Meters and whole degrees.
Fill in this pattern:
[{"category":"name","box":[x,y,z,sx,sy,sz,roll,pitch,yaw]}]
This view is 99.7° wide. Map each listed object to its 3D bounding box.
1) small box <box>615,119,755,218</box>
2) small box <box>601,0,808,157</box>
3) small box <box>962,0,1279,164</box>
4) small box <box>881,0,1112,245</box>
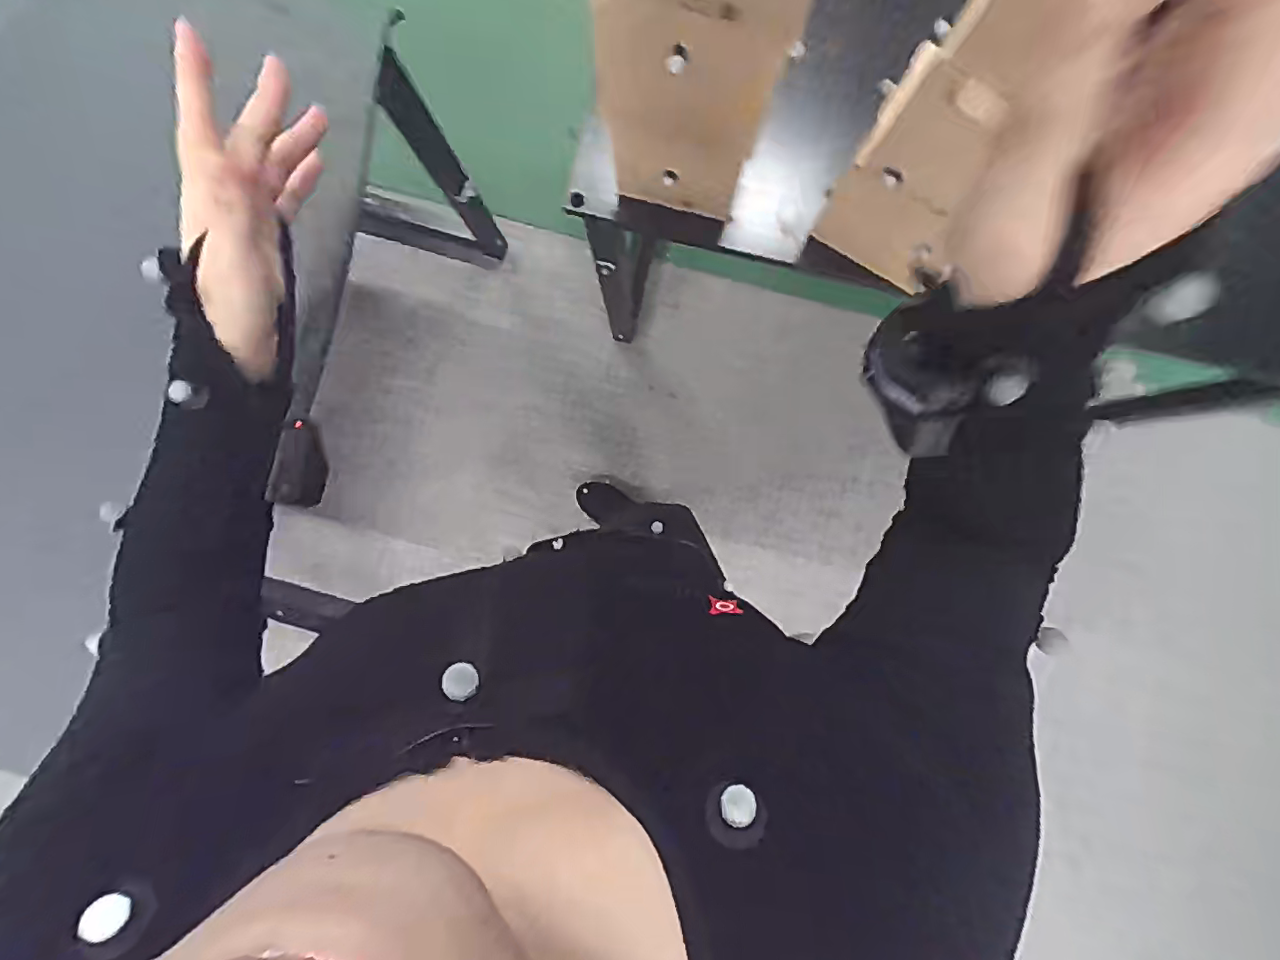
[{"category":"small box","box":[0.074,-0.469,0.691,0.168,0.176,0.179,15,89,0]},{"category":"small box","box":[0.072,-0.455,0.528,0.179,0.176,0.168,15,90,1]},{"category":"small box","box":[0.370,-0.353,0.357,0.179,0.176,0.168,35,89,2]},{"category":"small box","box":[0.364,-0.366,0.520,0.168,0.176,0.179,33,89,1]}]
